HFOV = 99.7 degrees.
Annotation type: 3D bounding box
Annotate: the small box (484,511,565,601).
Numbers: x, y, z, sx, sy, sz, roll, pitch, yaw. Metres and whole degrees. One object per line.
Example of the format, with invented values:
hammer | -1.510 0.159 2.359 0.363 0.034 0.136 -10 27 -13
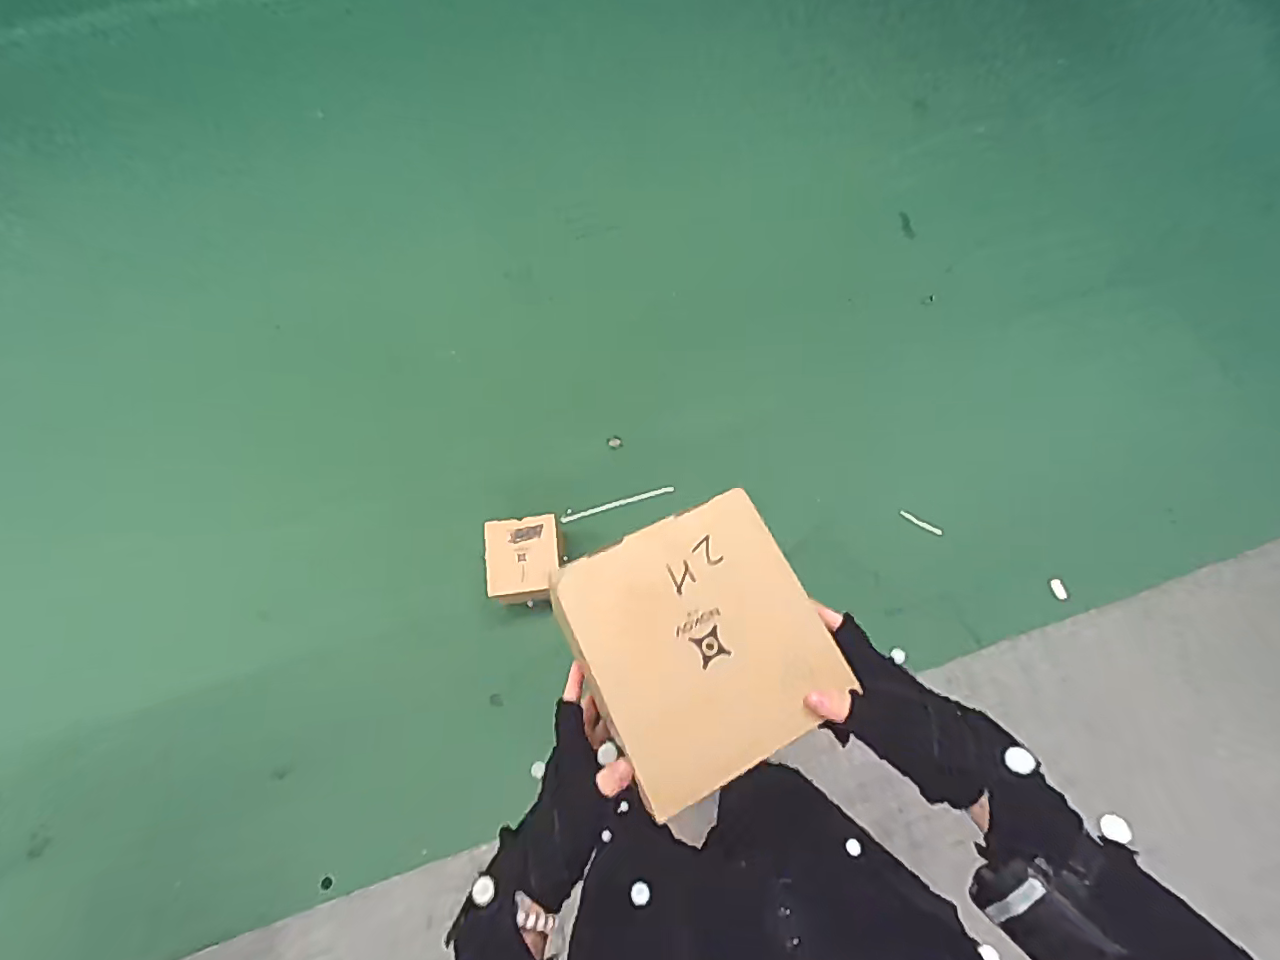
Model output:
small box | -0.274 0.187 1.304 0.168 0.176 0.179 -6 71 -4
